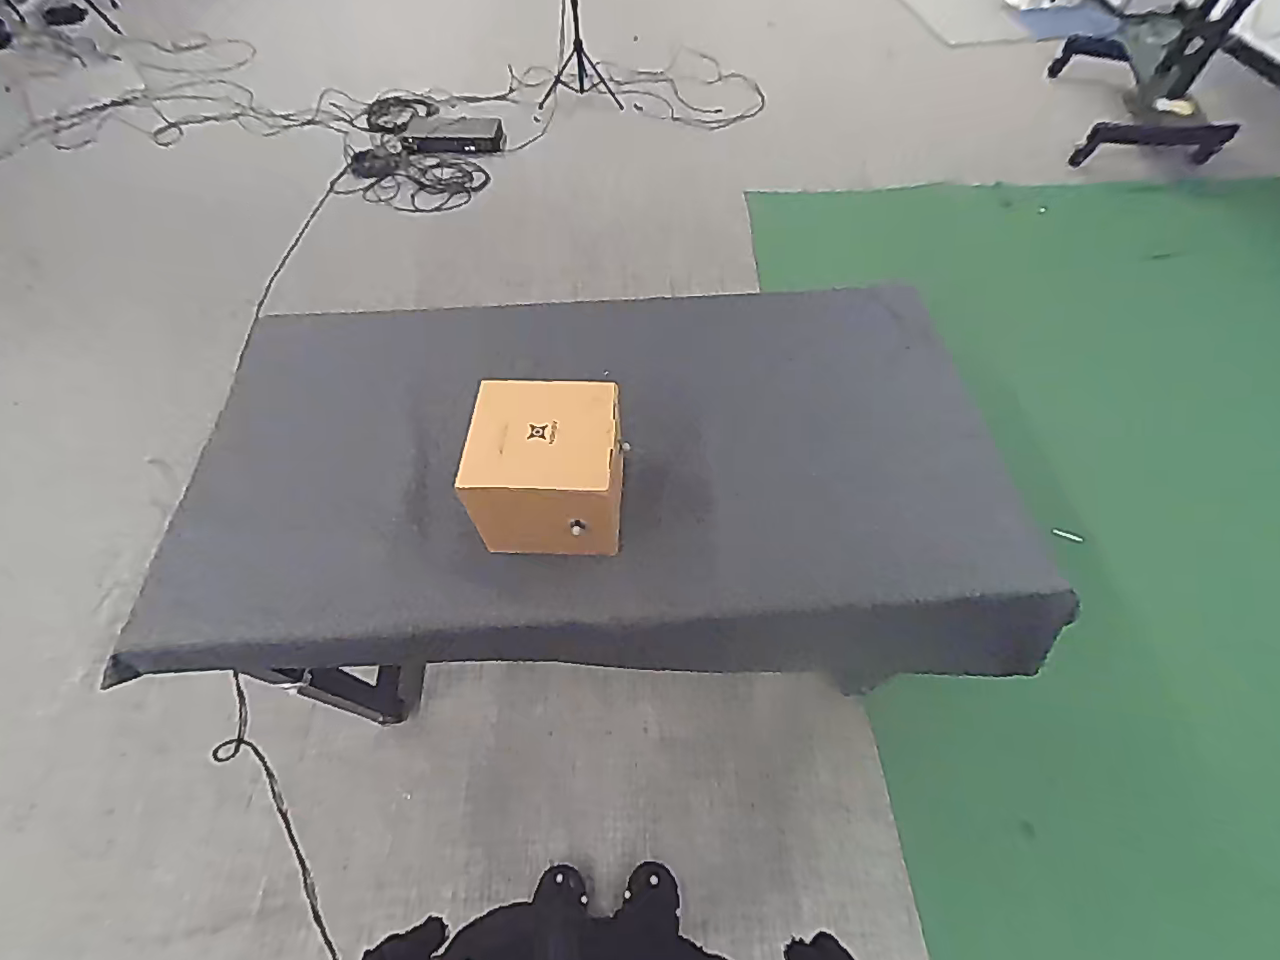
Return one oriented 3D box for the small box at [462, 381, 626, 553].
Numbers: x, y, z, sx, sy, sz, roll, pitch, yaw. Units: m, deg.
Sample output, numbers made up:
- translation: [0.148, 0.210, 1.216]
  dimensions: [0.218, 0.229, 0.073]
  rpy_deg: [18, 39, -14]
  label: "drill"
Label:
- translation: [-0.110, -0.012, 0.715]
  dimensions: [0.179, 0.176, 0.168]
  rpy_deg: [0, 56, 2]
  label: "small box"
